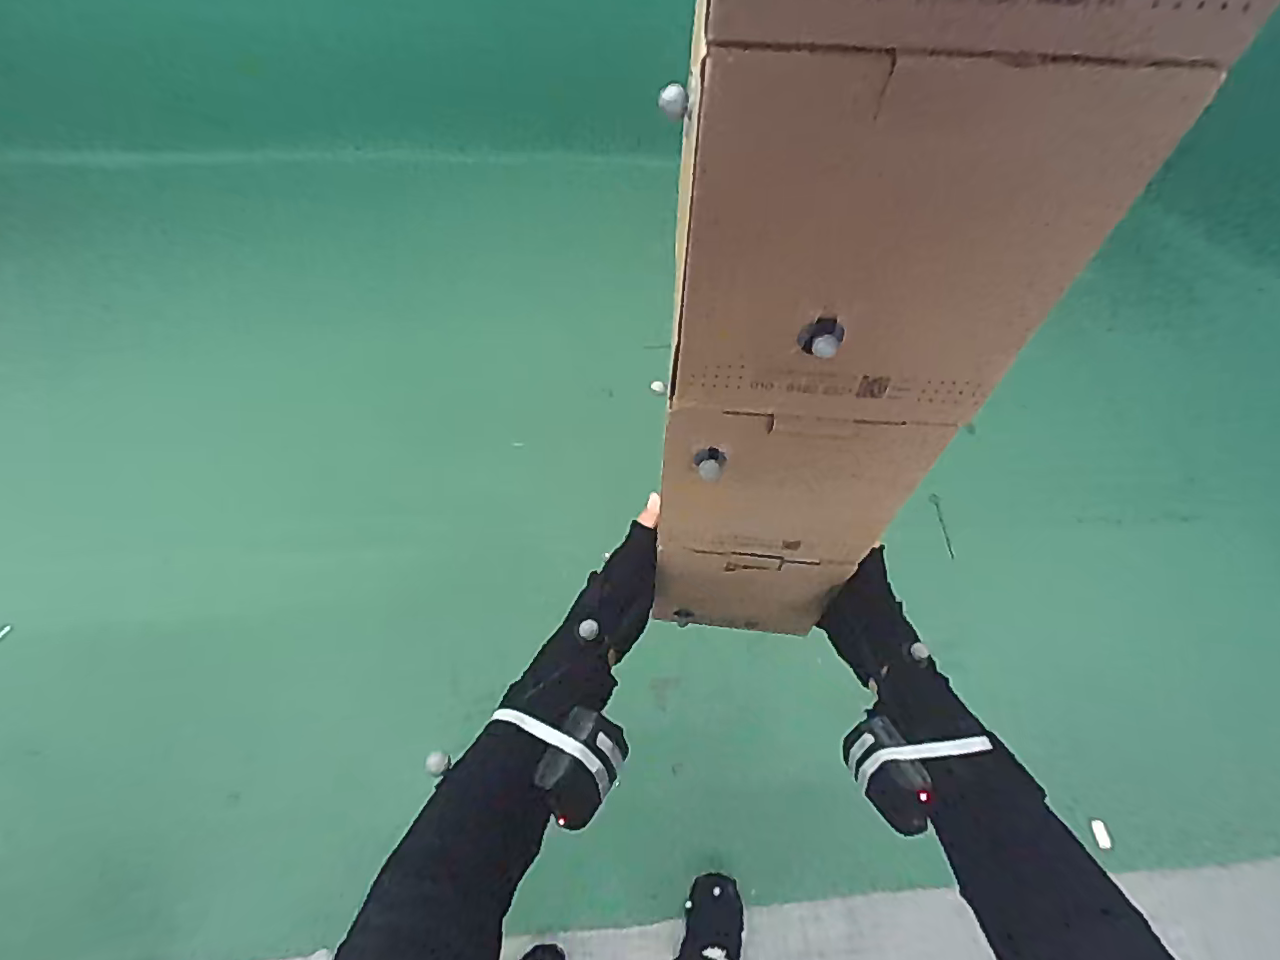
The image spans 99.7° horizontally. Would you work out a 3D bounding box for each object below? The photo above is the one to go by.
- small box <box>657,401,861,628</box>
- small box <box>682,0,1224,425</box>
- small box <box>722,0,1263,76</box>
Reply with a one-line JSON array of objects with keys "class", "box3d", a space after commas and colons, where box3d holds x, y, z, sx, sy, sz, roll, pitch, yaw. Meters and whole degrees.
[{"class": "small box", "box3d": [0.105, 0.041, 0.553, 0.168, 0.176, 0.179, 3, 56, 1]}, {"class": "small box", "box3d": [0.112, -0.154, 0.290, 0.168, 0.176, 0.179, 4, 55, 1]}, {"class": "small box", "box3d": [0.115, -0.252, 0.158, 0.168, 0.176, 0.179, 4, 55, 1]}]
